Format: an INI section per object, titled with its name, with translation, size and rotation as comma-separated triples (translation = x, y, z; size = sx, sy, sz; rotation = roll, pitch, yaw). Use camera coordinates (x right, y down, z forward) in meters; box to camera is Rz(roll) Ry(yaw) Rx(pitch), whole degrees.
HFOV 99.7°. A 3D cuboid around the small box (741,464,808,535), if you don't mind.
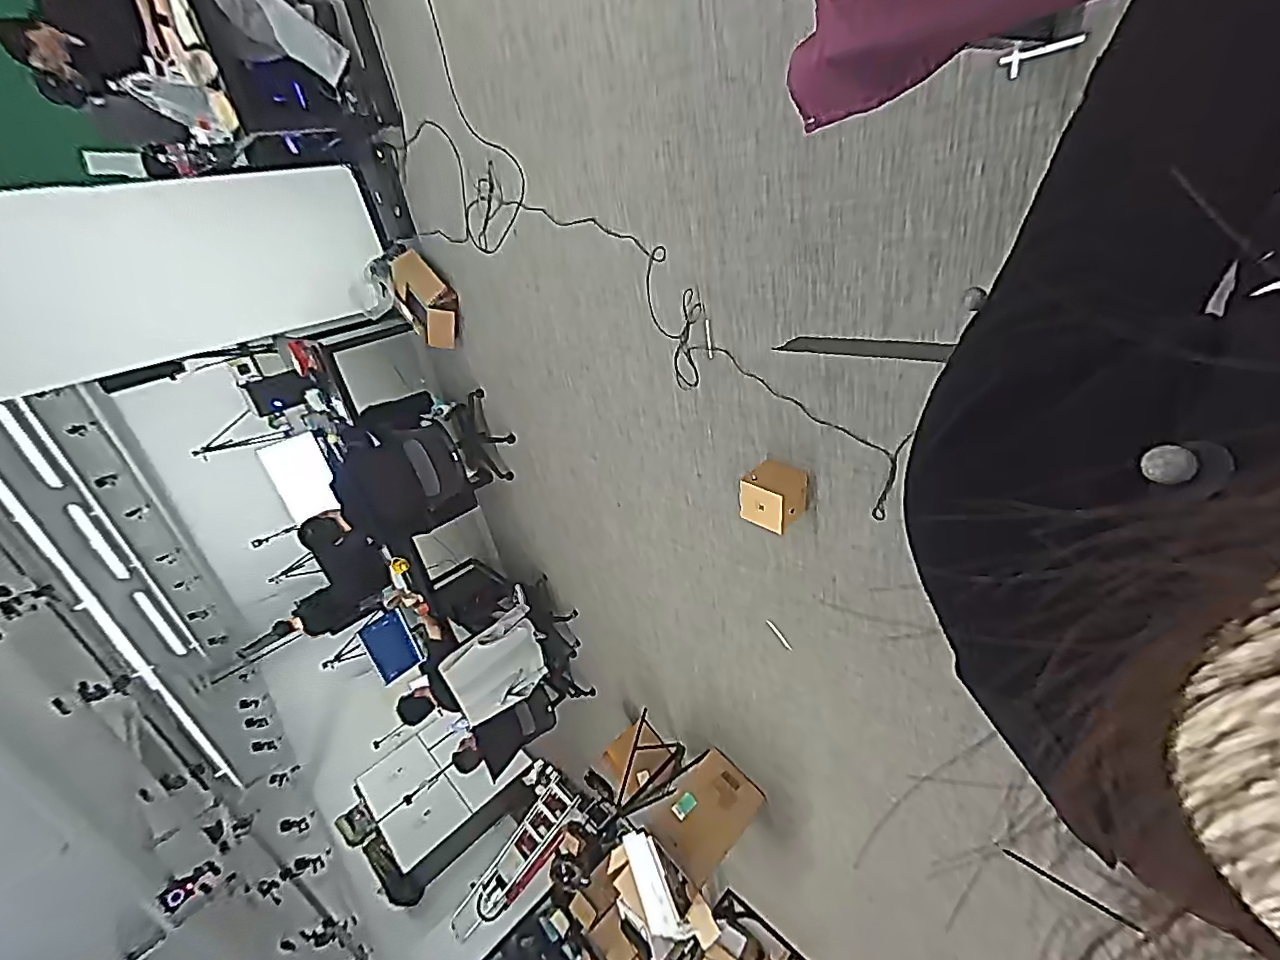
[small box]
translation = 0.479, 0.061, 1.927
size = 0.179, 0.176, 0.168
rotation = 24, 134, 40
